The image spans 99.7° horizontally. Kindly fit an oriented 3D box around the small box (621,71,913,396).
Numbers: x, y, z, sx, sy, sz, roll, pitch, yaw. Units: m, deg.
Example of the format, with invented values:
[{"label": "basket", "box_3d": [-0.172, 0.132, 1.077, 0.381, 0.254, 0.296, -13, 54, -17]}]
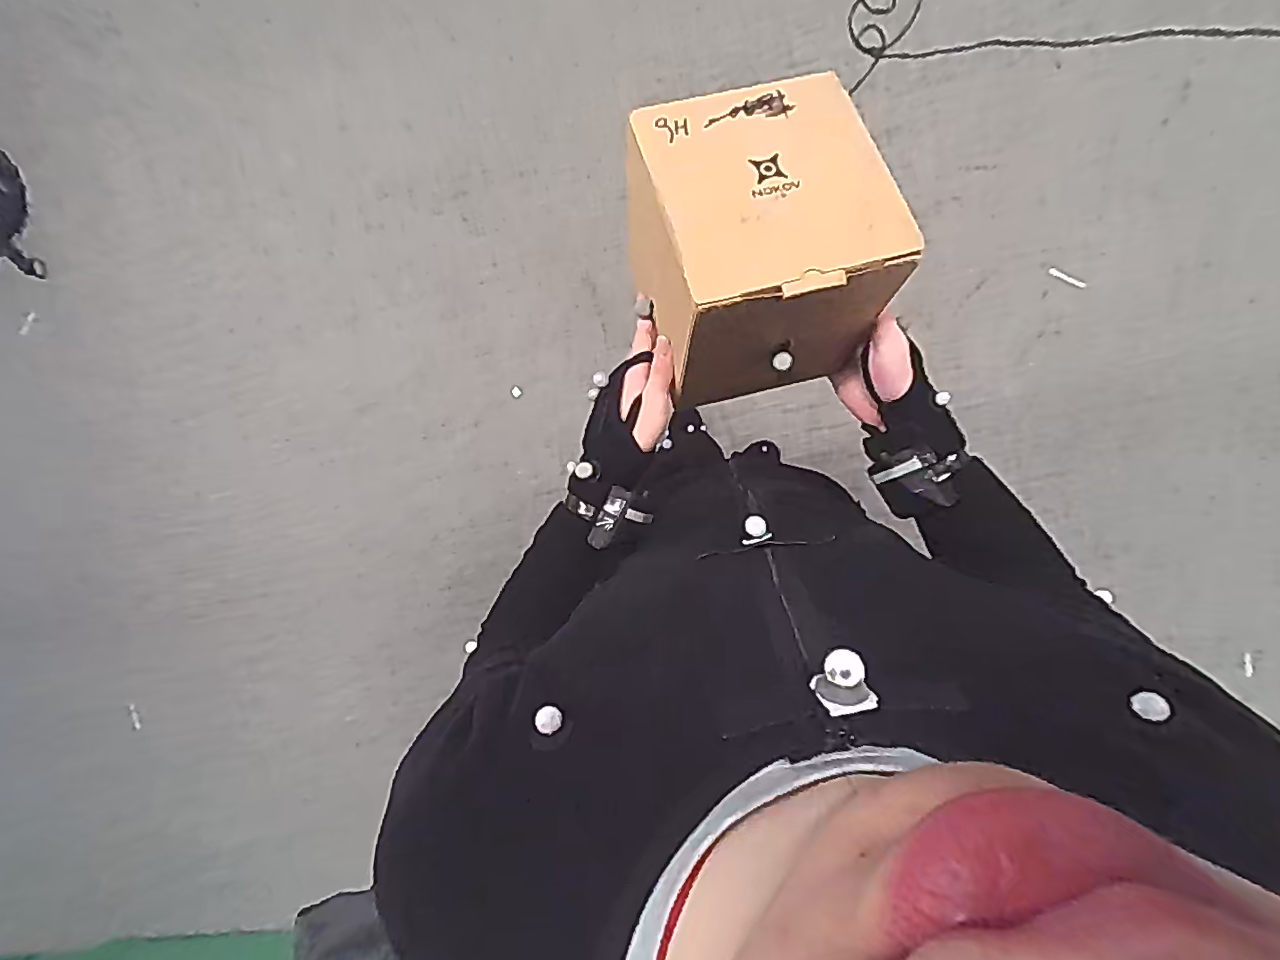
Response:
[{"label": "small box", "box_3d": [0.084, -0.185, 0.453, 0.168, 0.176, 0.179, -14, 75, -6]}]
